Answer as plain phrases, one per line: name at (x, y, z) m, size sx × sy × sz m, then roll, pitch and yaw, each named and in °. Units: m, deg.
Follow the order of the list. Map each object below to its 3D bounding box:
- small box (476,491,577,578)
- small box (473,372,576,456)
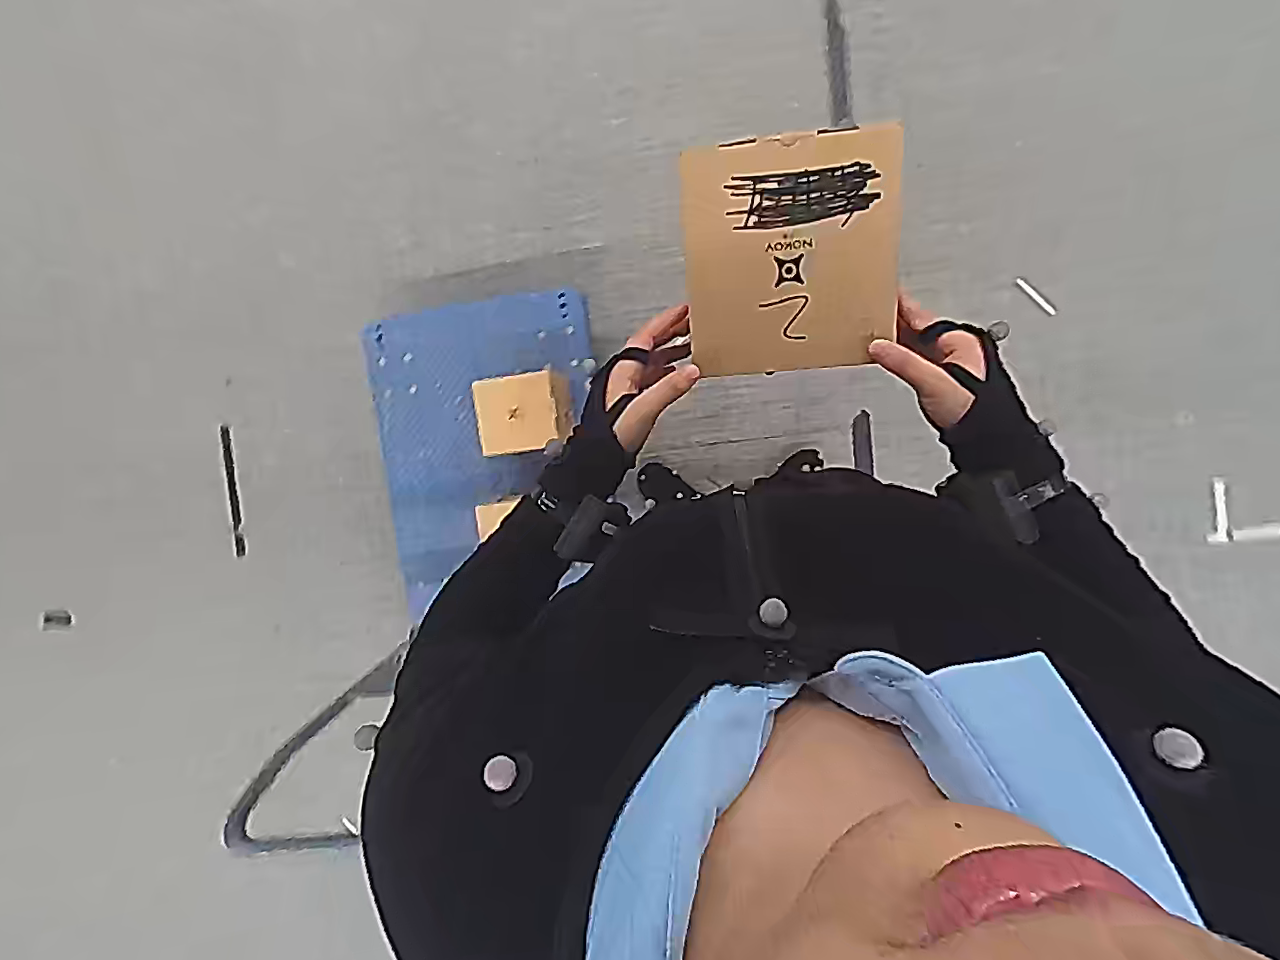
small box at (-0.261, 0.124, 1.279) m, size 0.179 × 0.176 × 0.168 m, roll -9°, pitch 94°, yaw 6°
small box at (-0.262, -0.148, 1.257) m, size 0.179 × 0.176 × 0.168 m, roll -8°, pitch 94°, yaw 7°
